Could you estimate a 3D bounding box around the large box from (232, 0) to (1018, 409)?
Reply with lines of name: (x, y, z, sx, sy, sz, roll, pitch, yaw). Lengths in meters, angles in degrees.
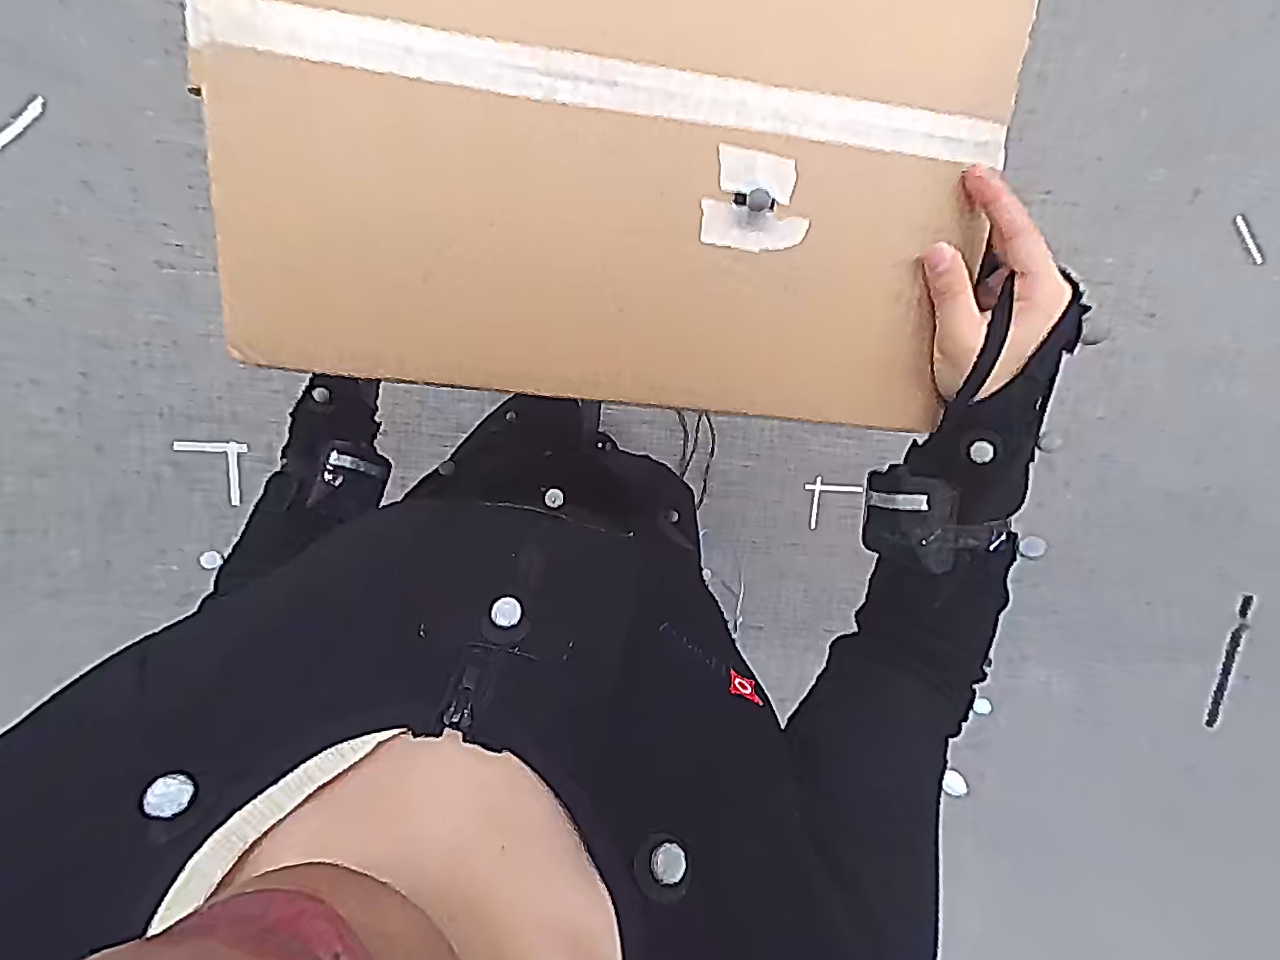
large box: (-0.017, -0.239, 0.427, 0.408, 0.320, 0.320, 4, 104, -8)
